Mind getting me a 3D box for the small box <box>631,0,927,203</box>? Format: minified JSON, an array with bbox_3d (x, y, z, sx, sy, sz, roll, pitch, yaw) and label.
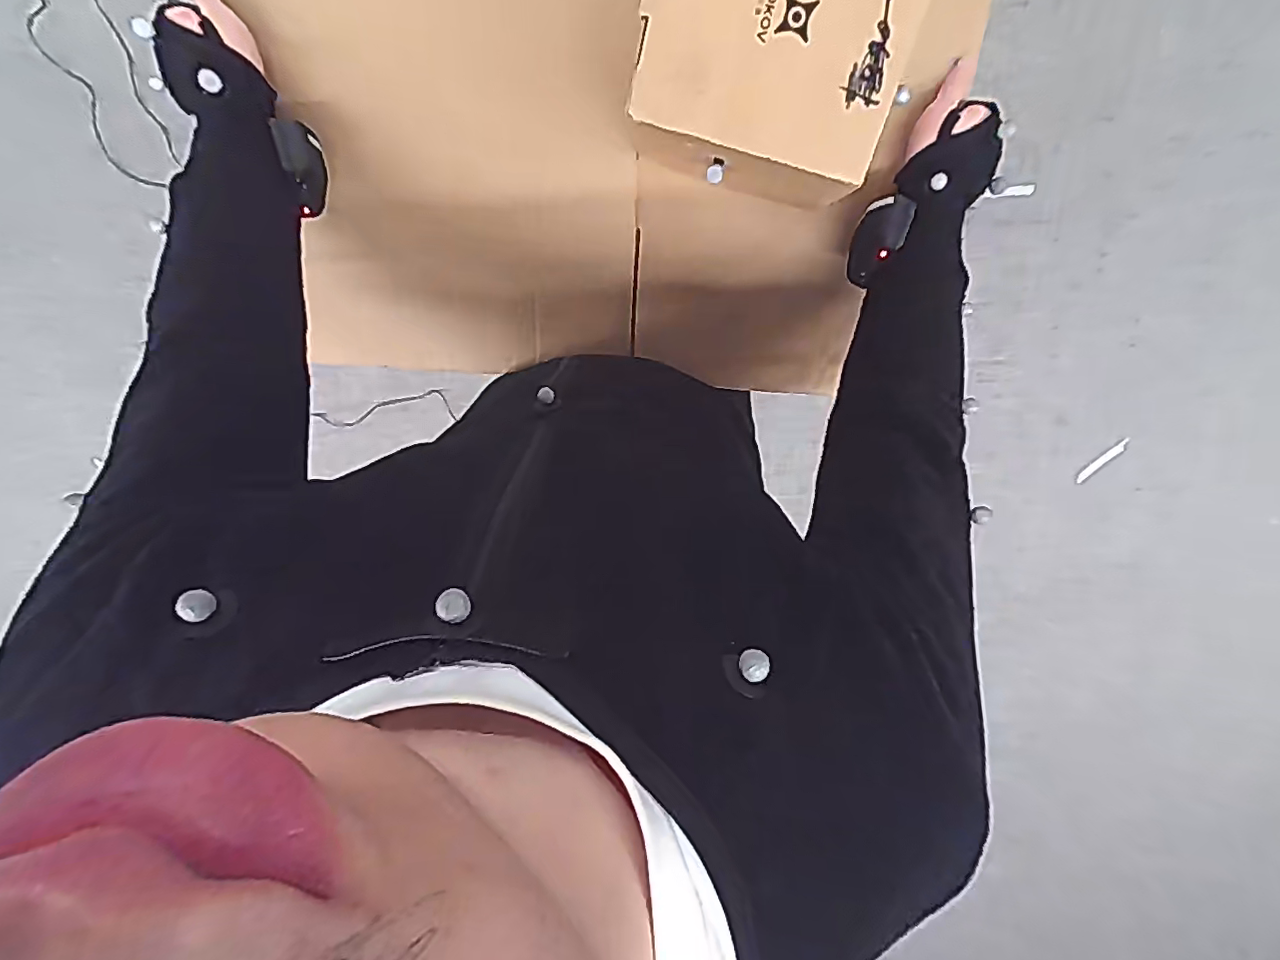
[{"bbox_3d":[0.105,-0.338,0.434,0.179,0.176,0.168,16,111,0],"label":"small box"}]
